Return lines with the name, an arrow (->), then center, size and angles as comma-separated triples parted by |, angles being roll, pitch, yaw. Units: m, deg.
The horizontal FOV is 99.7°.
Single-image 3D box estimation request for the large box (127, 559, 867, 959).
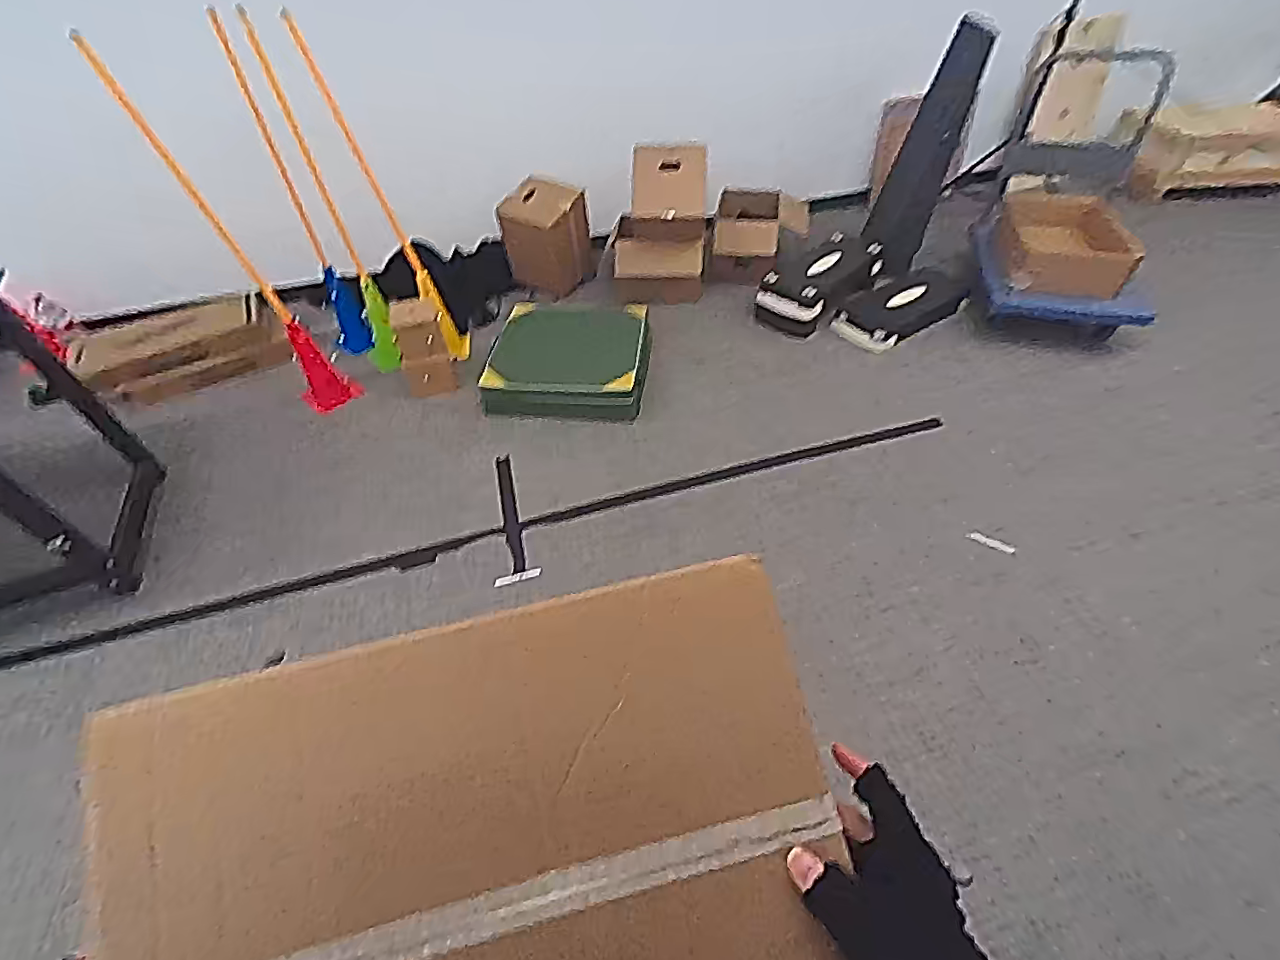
large box -> -0.088, 0.276, 0.455 | 0.408, 0.320, 0.320 | -13, 78, -5
